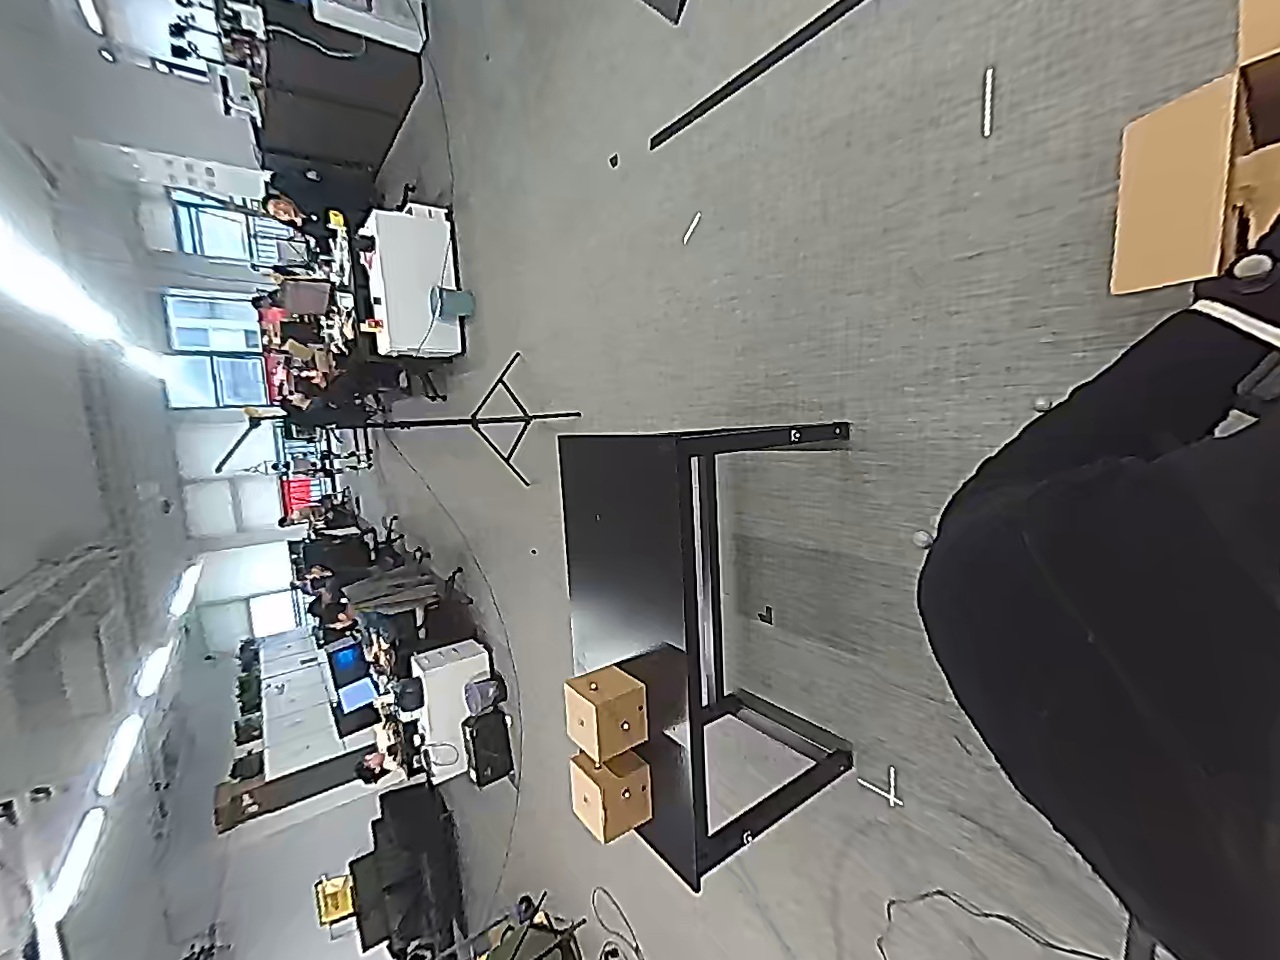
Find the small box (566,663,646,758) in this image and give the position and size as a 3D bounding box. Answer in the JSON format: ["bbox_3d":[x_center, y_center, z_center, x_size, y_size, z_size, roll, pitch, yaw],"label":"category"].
[{"bbox_3d":[-0.092,0.642,1.535,0.179,0.176,0.168,7,102,54],"label":"small box"}]

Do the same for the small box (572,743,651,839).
[{"bbox_3d":[-0.078,0.880,1.567,0.179,0.176,0.168,6,100,55],"label":"small box"}]
